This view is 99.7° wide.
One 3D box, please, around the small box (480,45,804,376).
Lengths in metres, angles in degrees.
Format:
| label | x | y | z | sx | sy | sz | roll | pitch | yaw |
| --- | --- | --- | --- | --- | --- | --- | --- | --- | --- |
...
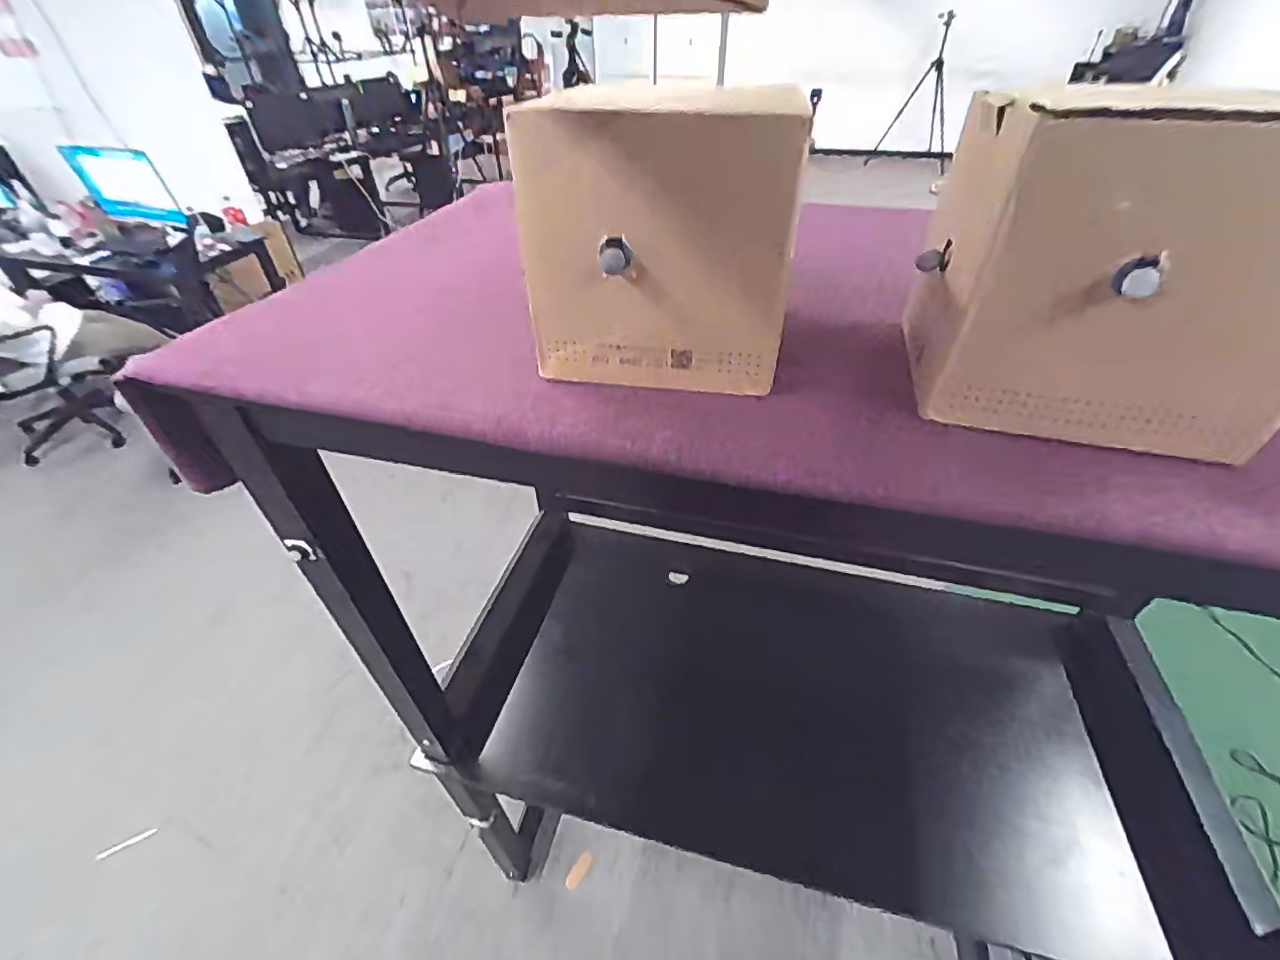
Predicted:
| label | x | y | z | sx | sy | sz | roll | pitch | yaw |
| --- | --- | --- | --- | --- | --- | --- | --- | --- | --- |
| small box | 0.015 | -0.188 | 0.374 | 0.168 | 0.176 | 0.179 | 8 | 41 | 9 |
